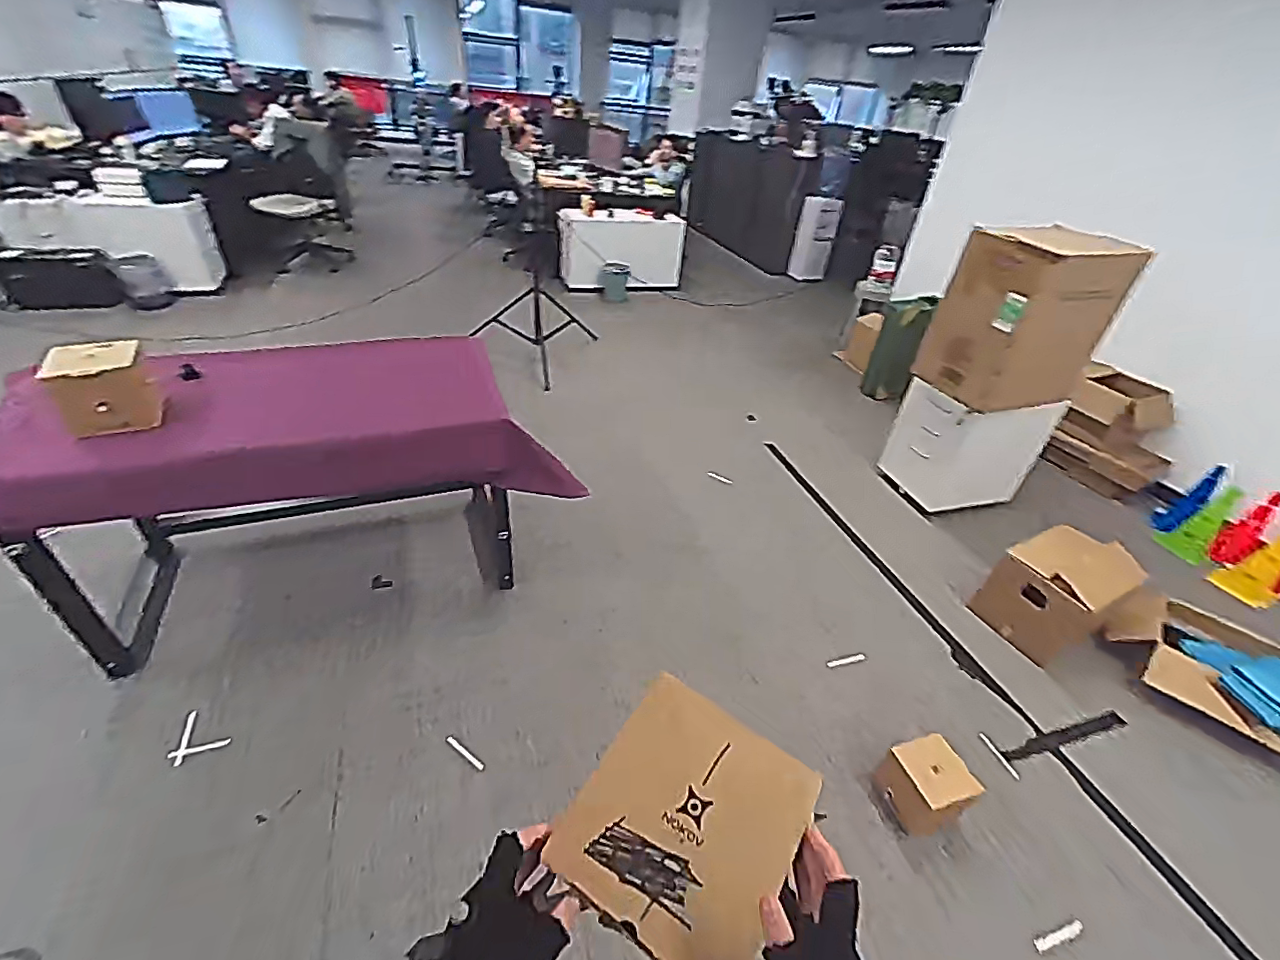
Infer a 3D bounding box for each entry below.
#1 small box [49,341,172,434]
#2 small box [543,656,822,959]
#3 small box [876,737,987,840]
[{"bbox_3d":[-1.313,-0.228,1.355,0.168,0.176,0.179,-14,41,-27],"label":"small box"},{"bbox_3d":[0.038,0.303,0.494,0.168,0.176,0.179,28,56,18],"label":"small box"},{"bbox_3d":[0.782,0.840,1.472,0.179,0.176,0.168,-7,37,-17],"label":"small box"}]
